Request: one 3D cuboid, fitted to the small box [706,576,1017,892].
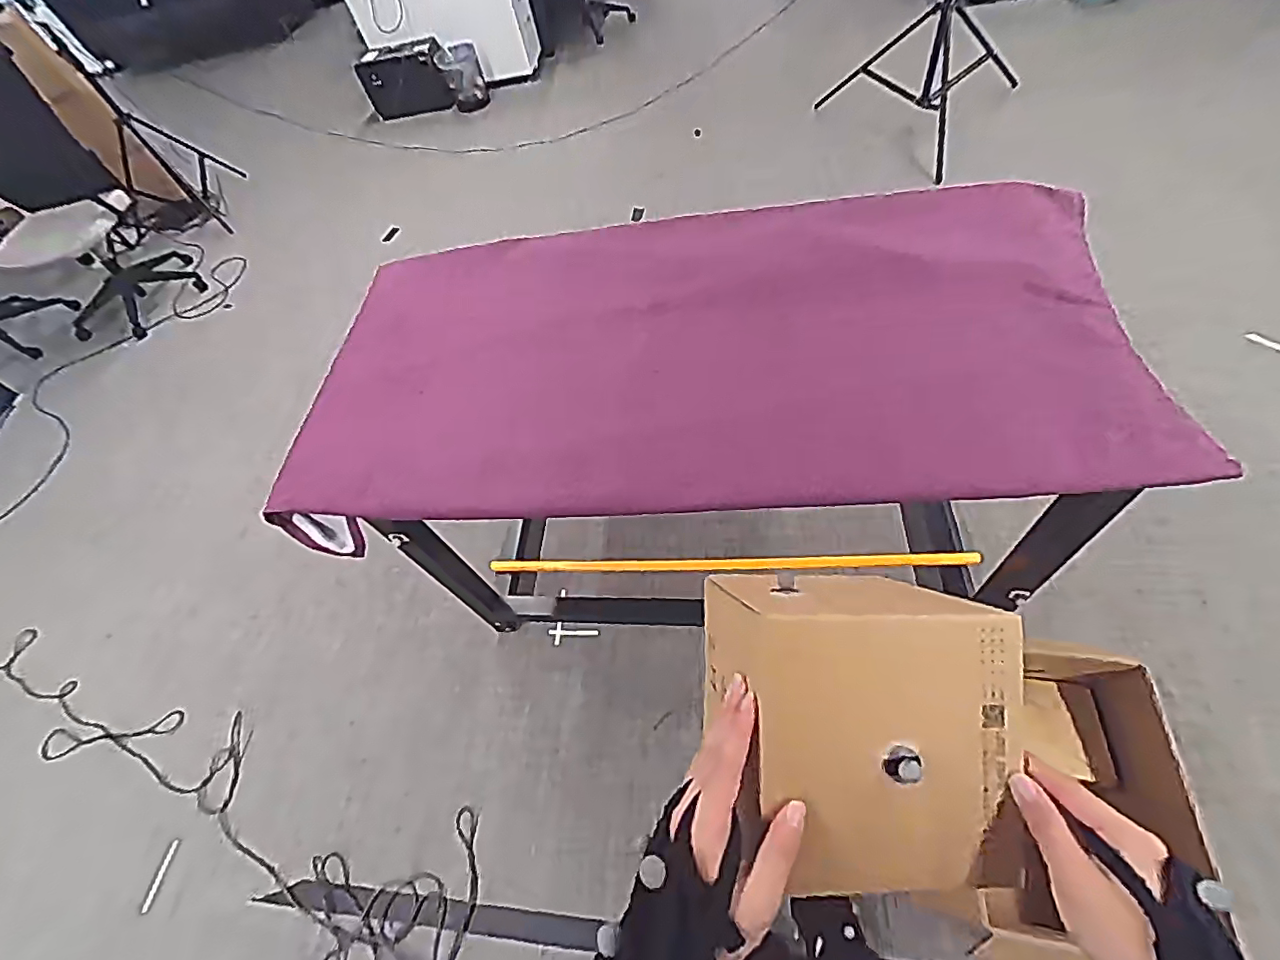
[{"bbox_3d":[0.151,0.166,0.412,0.176,0.179,0.168,1,88,-5],"label":"small box"}]
